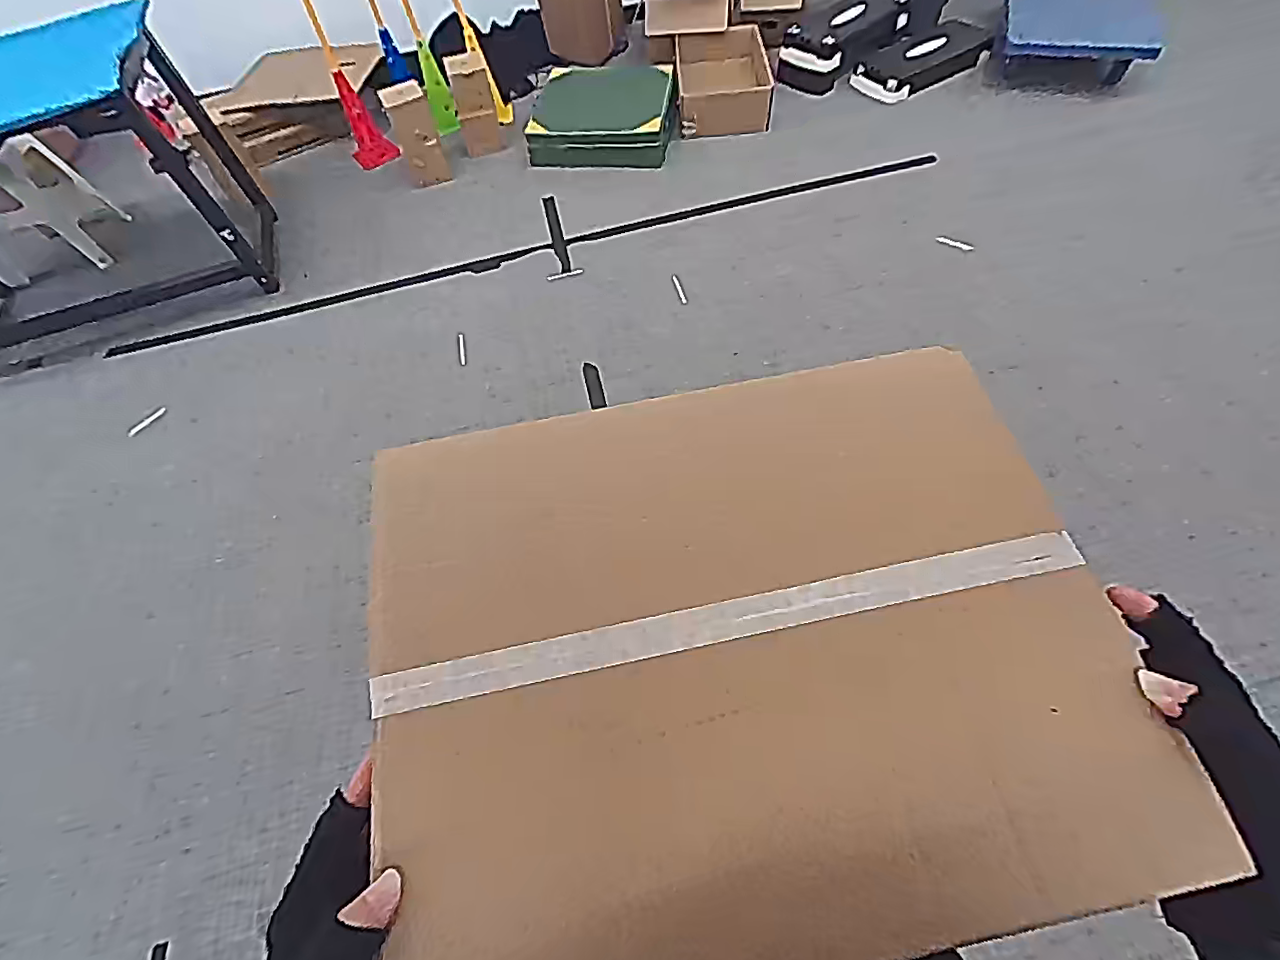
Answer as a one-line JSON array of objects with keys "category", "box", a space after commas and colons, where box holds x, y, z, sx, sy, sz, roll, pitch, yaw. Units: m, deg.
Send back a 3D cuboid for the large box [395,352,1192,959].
[{"category": "large box", "box": [0.059, 0.144, 0.456, 0.408, 0.320, 0.320, -12, 66, -3]}]
